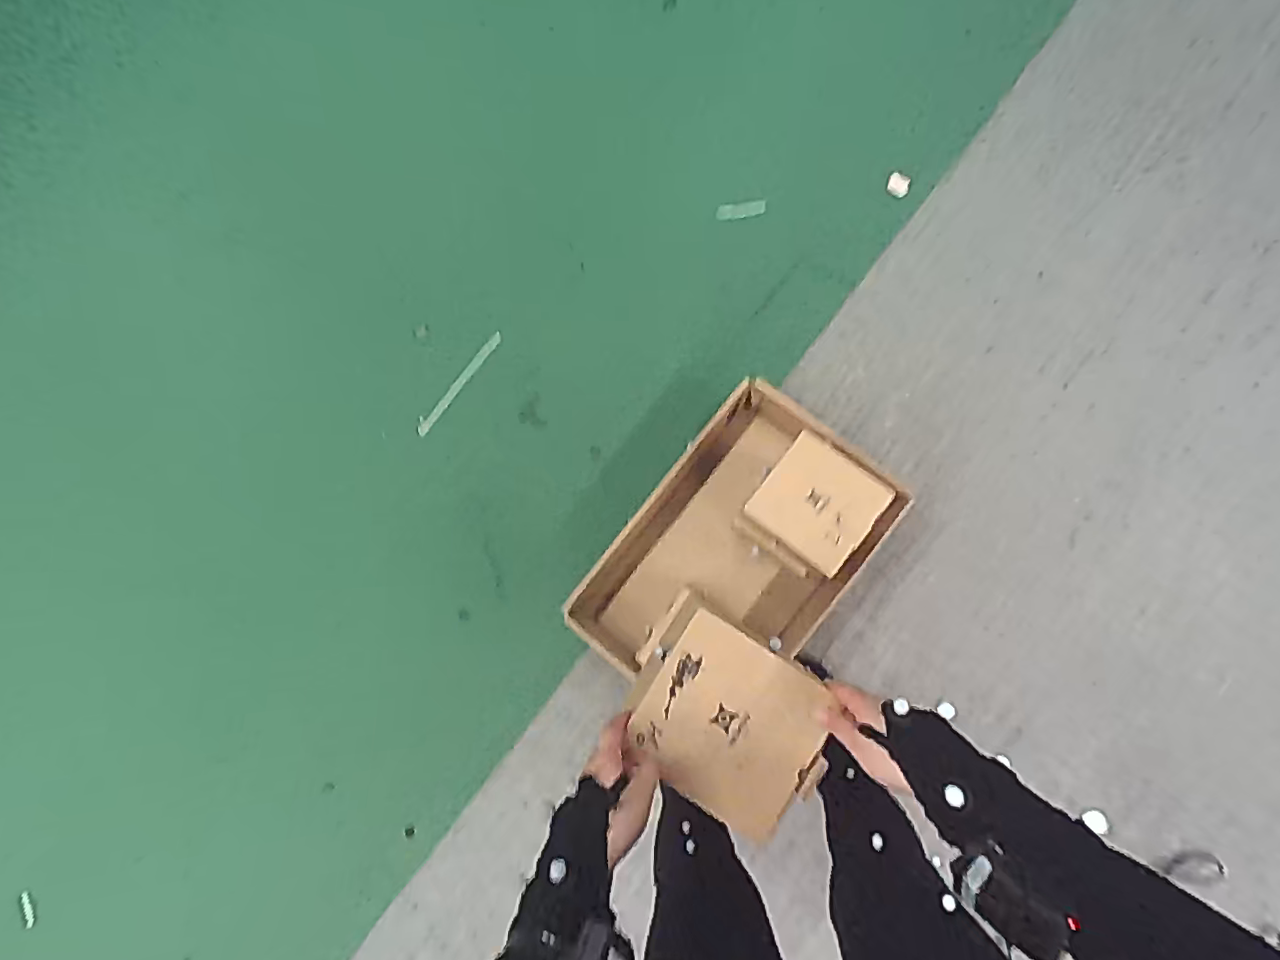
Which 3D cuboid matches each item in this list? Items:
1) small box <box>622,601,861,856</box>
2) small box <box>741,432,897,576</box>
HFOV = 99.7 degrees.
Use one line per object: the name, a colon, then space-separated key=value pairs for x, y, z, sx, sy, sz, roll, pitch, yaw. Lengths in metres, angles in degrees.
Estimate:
small box: x=0.099 y=0.249 z=0.596 sx=0.179 sy=0.176 sz=0.168 roll=32 pitch=85 yaw=4
small box: x=0.289 y=0.047 z=0.922 sx=0.179 sy=0.176 sz=0.168 roll=38 pitch=88 yaw=9
